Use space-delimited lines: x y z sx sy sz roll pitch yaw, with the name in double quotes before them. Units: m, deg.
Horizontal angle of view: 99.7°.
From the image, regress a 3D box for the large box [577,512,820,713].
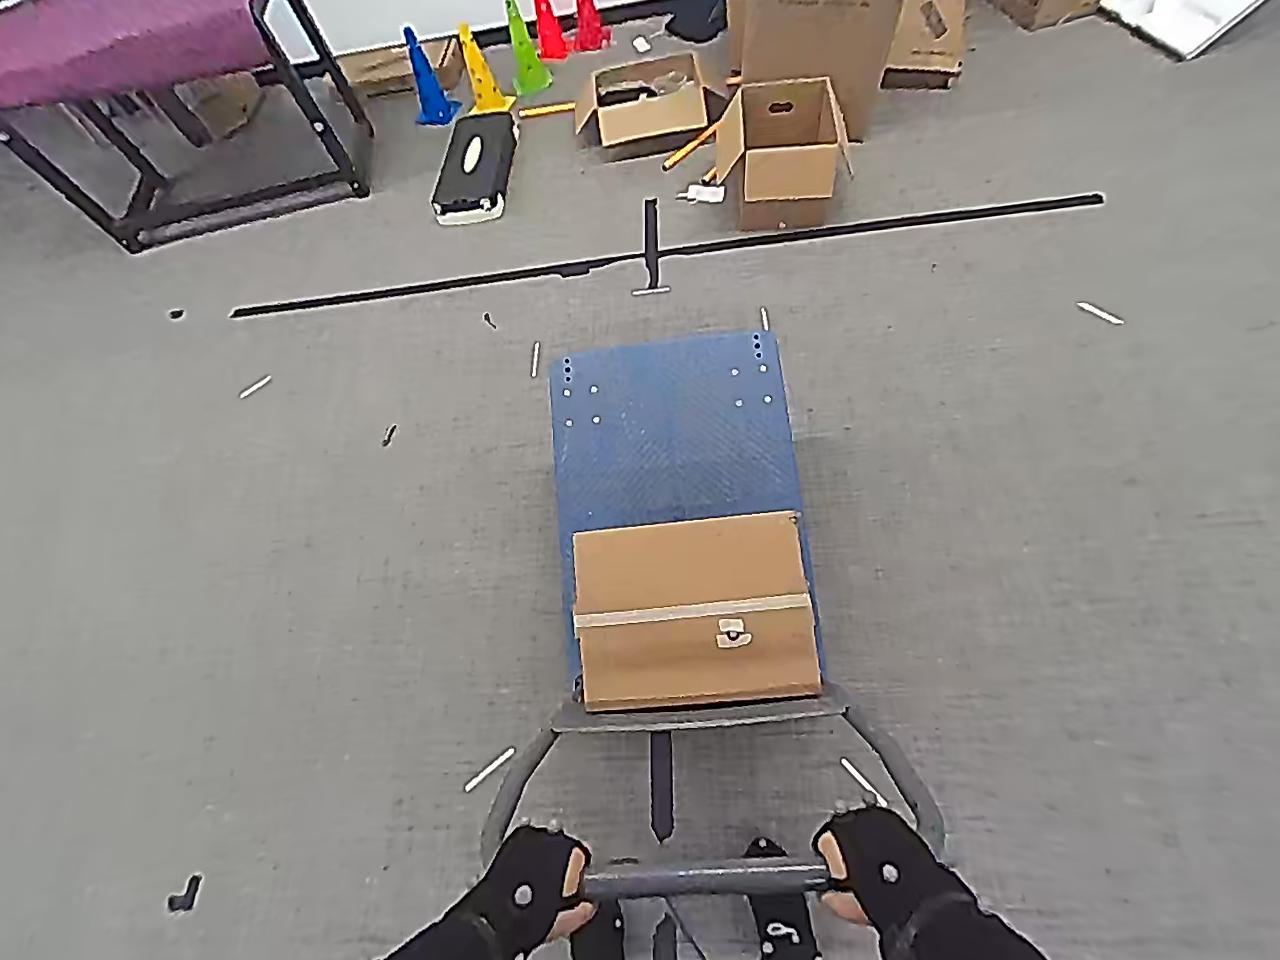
"large box" 0.106 0.262 1.108 0.408 0.320 0.320 -7 79 3
